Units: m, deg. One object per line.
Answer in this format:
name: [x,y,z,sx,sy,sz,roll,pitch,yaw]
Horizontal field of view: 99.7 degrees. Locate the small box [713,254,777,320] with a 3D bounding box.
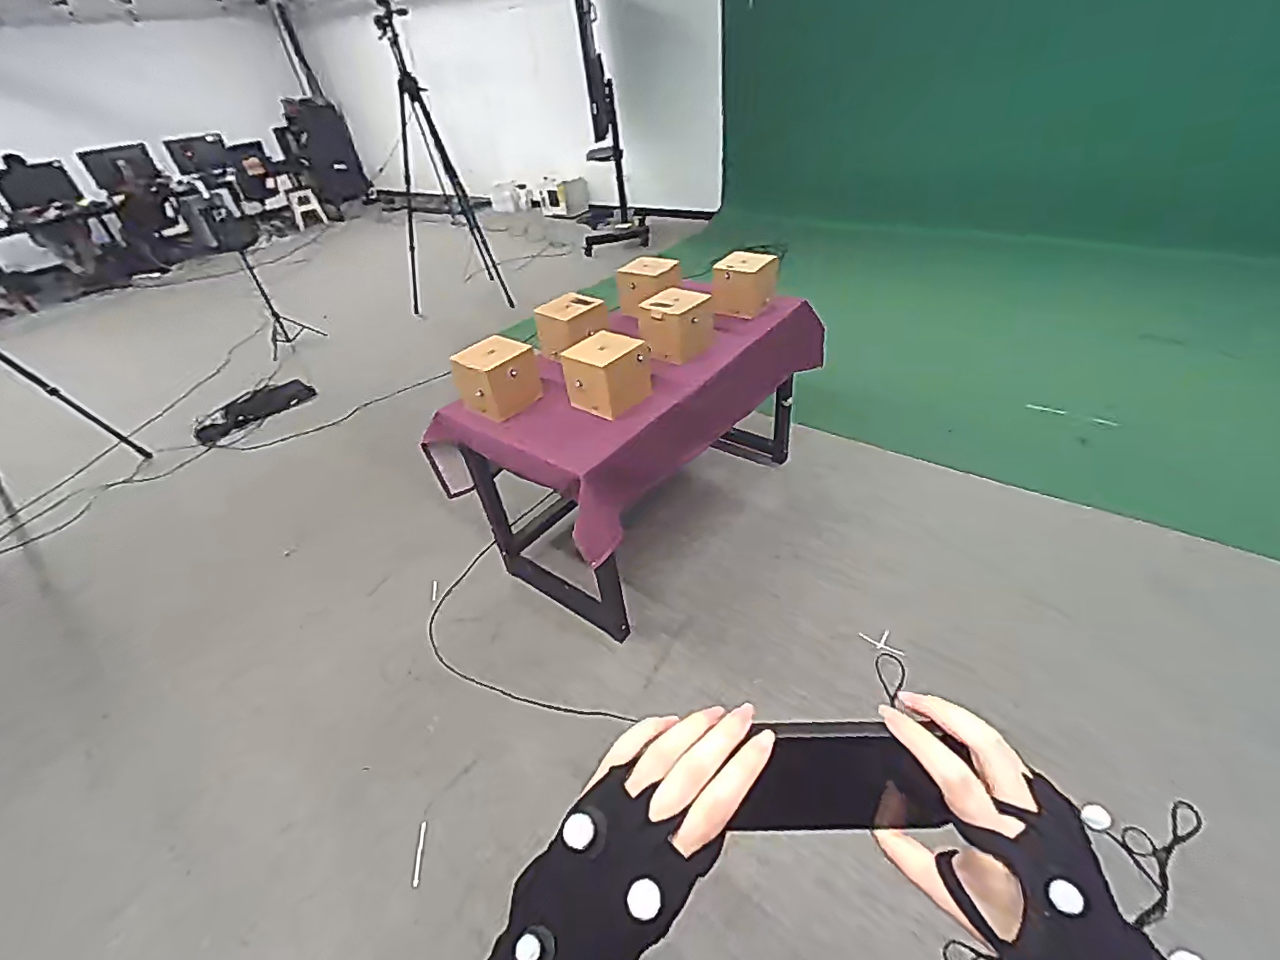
small box: [0.375,-0.692,1.935,0.168,0.176,0.179,21,47,32]

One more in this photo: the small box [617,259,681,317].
small box: [0.037,-0.705,2.008,0.179,0.176,0.168,21,47,30]

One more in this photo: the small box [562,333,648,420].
small box: [-0.090,-0.290,1.518,0.168,0.176,0.179,24,47,34]

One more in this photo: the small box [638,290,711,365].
small box: [0.117,-0.487,1.726,0.168,0.176,0.179,26,48,35]
